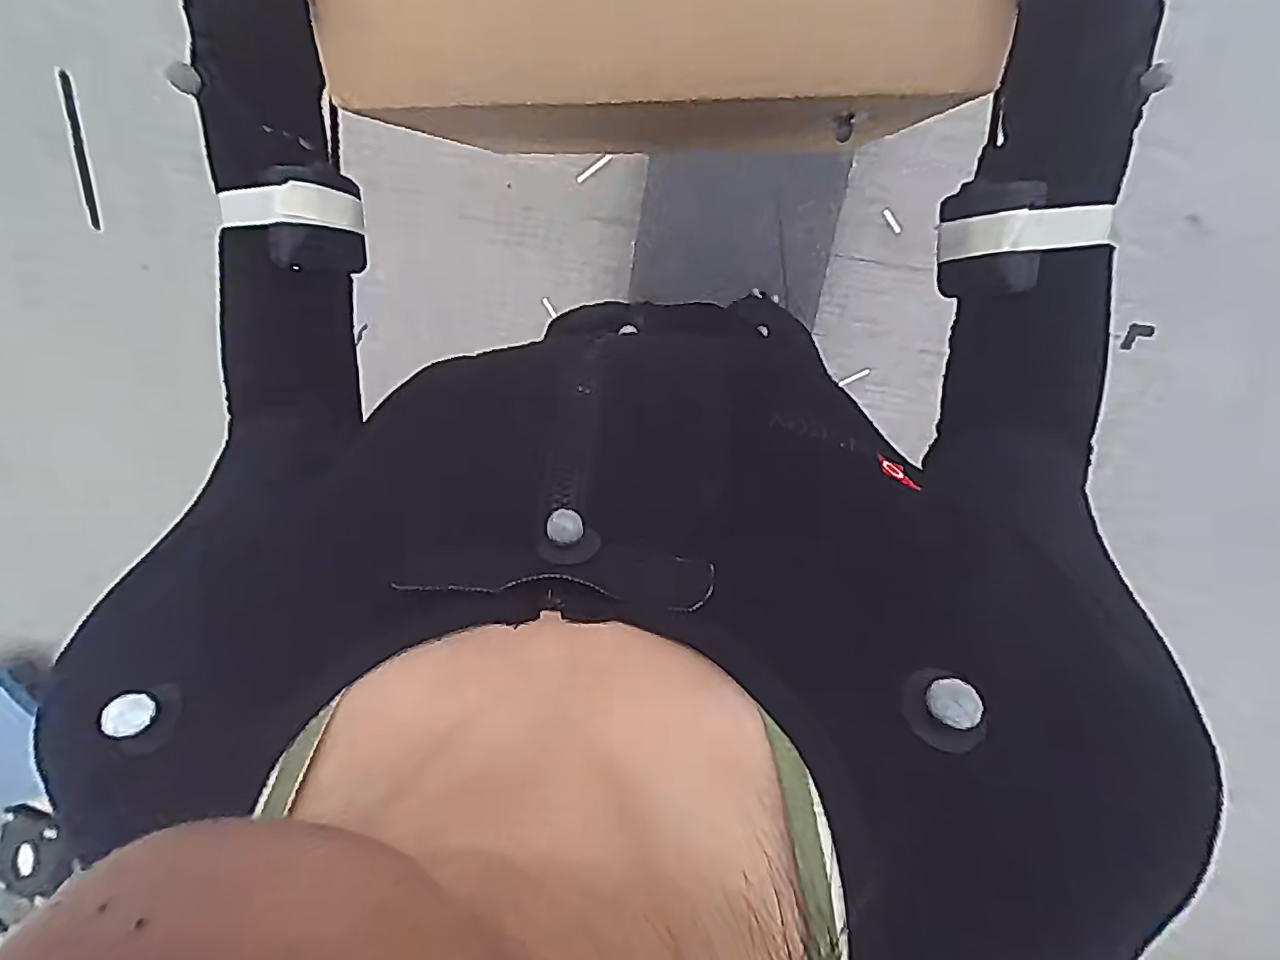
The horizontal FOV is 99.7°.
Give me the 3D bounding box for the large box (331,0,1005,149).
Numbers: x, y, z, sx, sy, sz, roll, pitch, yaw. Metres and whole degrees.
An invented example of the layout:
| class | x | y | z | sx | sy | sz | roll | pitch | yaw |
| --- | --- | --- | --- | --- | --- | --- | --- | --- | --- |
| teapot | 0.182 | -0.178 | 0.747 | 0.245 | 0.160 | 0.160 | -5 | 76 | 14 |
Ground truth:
| class | x | y | z | sx | sy | sz | roll | pitch | yaw |
| --- | --- | --- | --- | --- | --- | --- | --- | --- | --- |
| large box | 0.022 | -0.439 | 0.403 | 0.408 | 0.320 | 0.320 | 2 | 116 | 4 |
